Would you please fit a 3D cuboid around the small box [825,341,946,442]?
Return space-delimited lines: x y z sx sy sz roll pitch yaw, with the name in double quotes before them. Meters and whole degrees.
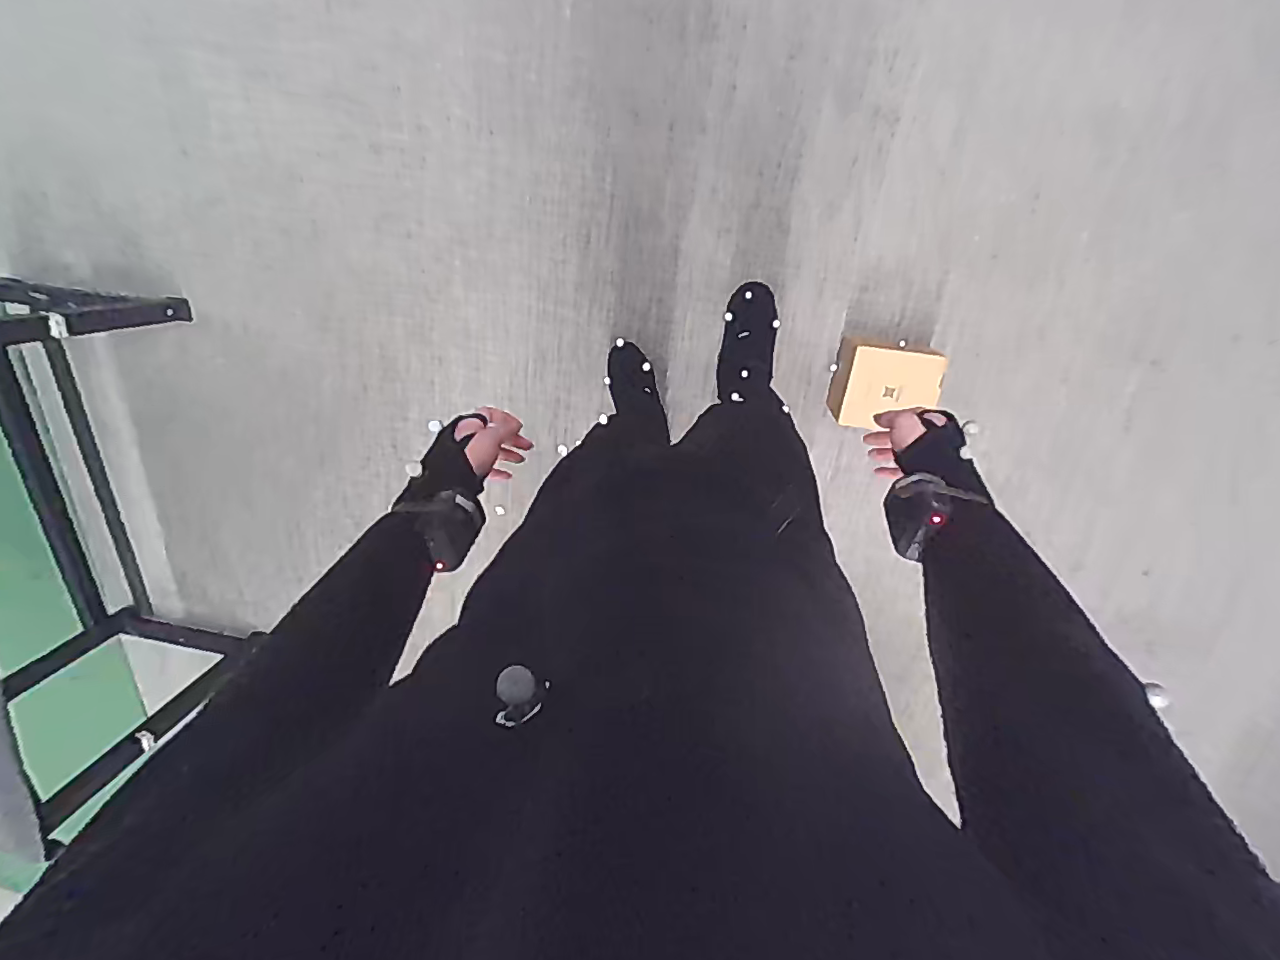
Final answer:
"small box" 0.513 -0.195 1.157 0.179 0.176 0.168 10 113 7
